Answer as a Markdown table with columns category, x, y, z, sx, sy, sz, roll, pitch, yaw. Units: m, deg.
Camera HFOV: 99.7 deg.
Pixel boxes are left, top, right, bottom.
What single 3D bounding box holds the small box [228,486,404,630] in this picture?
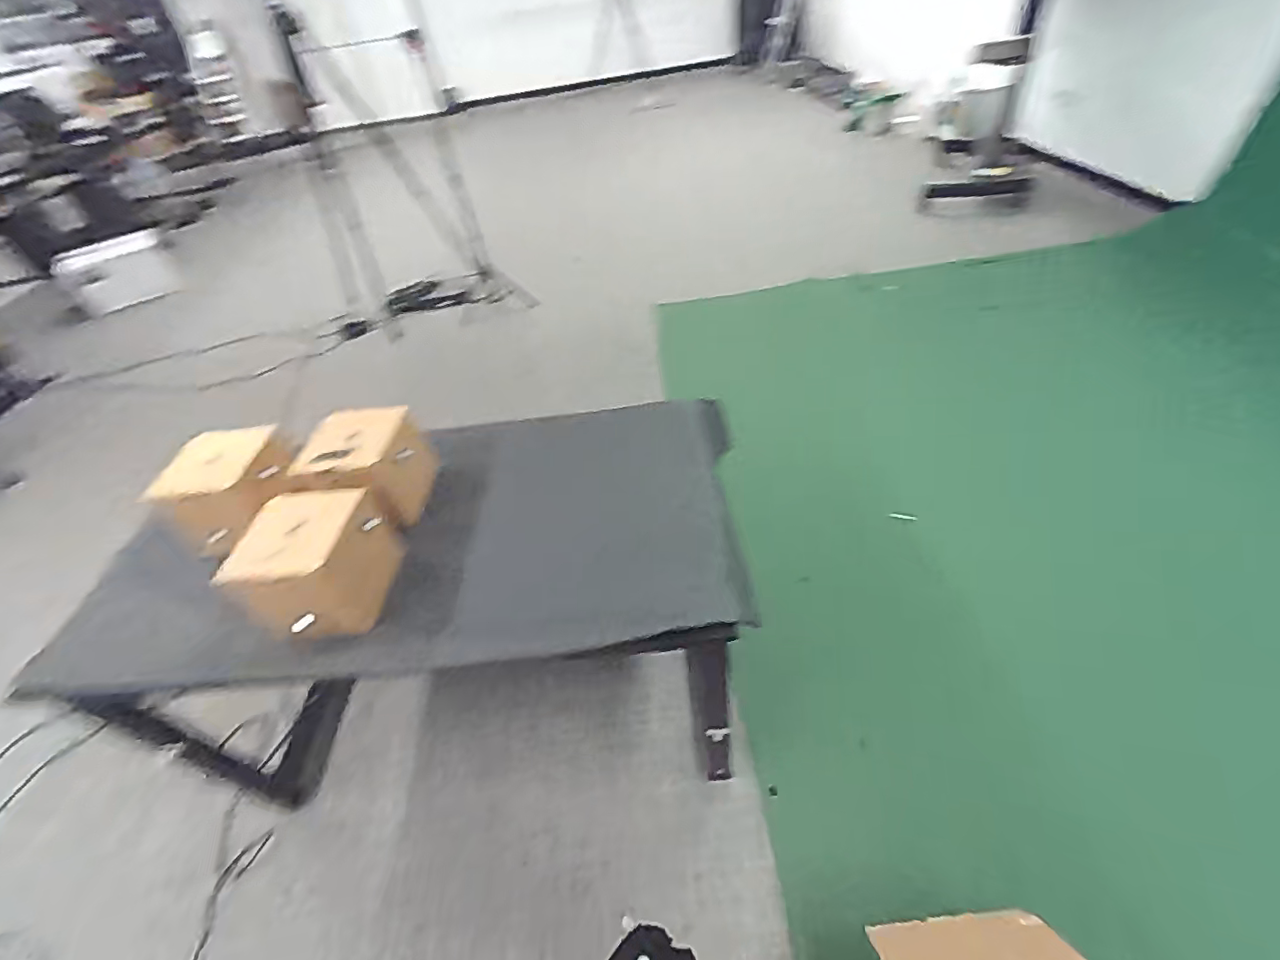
| category | x | y | z | sx | sy | sz | roll | pitch | yaw |
| --- | --- | --- | --- | --- | --- | --- | --- | --- | --- |
| small box | -0.526 | 0.132 | 0.914 | 0.168 | 0.176 | 0.179 | -4 | 44 | 5 |

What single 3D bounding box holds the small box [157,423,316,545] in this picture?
| category | x | y | z | sx | sy | sz | roll | pitch | yaw |
| --- | --- | --- | --- | --- | --- | --- | --- | --- | --- |
| small box | -0.784 | 0.009 | 1.084 | 0.168 | 0.176 | 0.179 | -5 | 45 | 4 |

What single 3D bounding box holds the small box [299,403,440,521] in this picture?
| category | x | y | z | sx | sy | sz | roll | pitch | yaw |
| --- | --- | --- | --- | --- | --- | --- | --- | --- | --- |
| small box | -0.522 | -0.029 | 1.077 | 0.168 | 0.176 | 0.179 | -3 | 44 | 6 |
